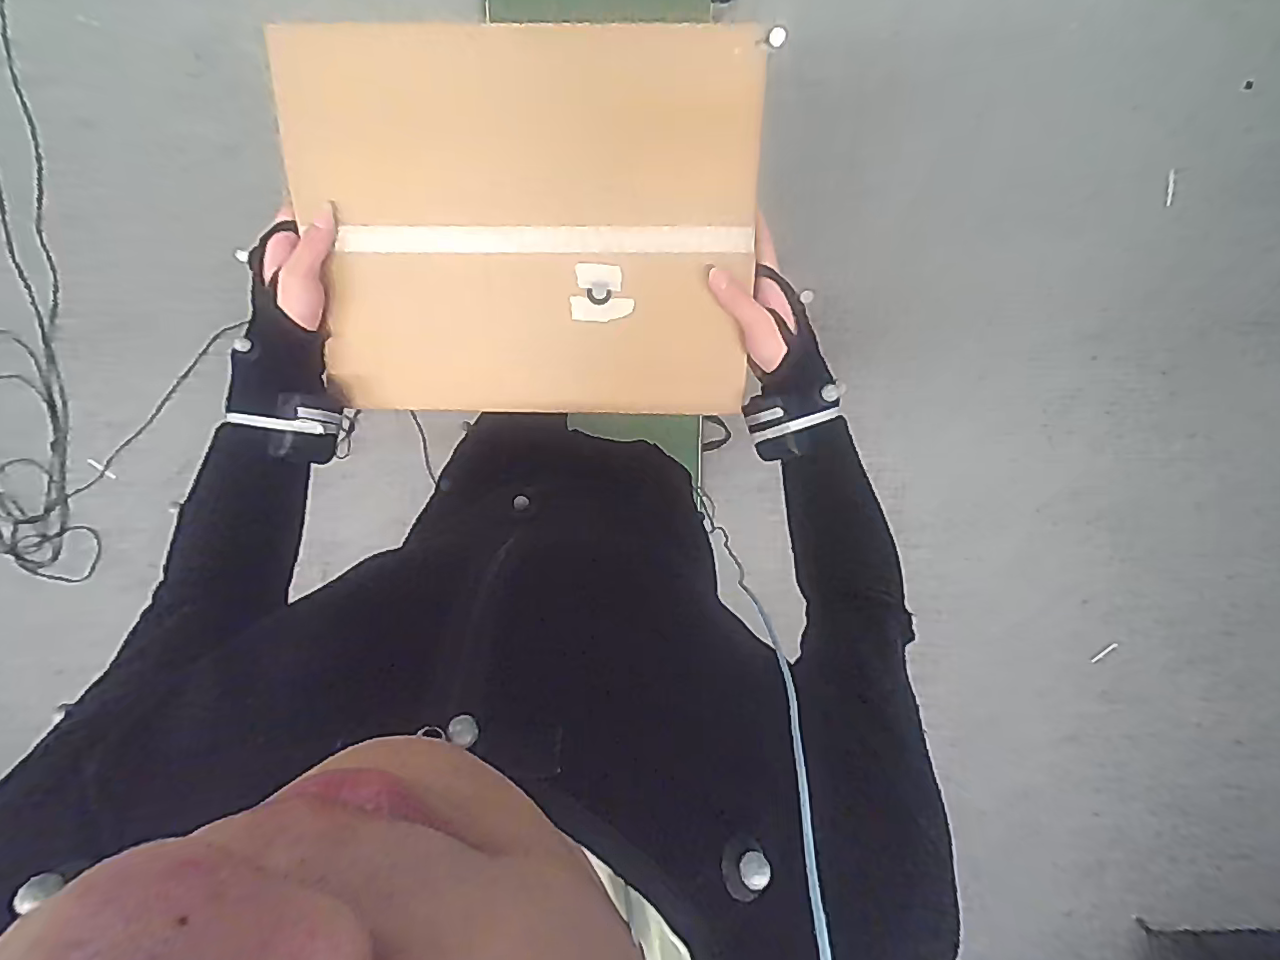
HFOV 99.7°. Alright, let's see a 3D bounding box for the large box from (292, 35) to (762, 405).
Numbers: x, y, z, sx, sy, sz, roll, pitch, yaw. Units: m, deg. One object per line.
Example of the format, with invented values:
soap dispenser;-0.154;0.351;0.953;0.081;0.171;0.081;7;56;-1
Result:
large box;-0.095;-0.270;0.637;0.408;0.320;0.320;1;110;1
